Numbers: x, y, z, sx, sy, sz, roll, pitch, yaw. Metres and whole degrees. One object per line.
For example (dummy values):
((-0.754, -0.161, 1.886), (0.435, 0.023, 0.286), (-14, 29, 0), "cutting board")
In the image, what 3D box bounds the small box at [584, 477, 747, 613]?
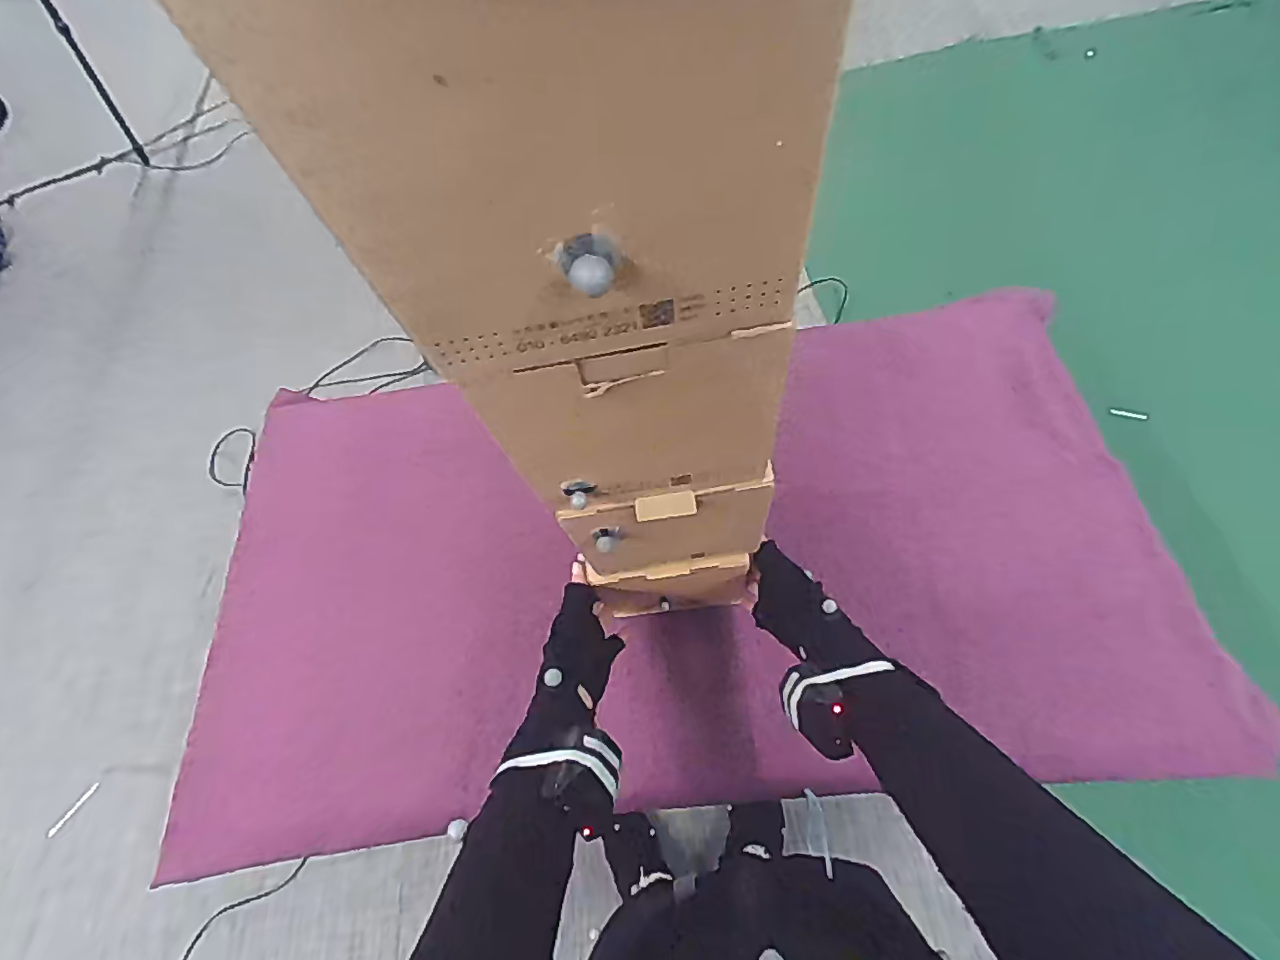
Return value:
((0.029, 0.051, 0.655), (0.168, 0.176, 0.179), (-8, 65, 4), "small box")

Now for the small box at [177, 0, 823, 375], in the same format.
((-0.037, -0.170, 0.218), (0.168, 0.176, 0.179), (-10, 64, 4), "small box")

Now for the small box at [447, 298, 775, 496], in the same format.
((-0.013, -0.100, 0.365), (0.168, 0.176, 0.179), (-9, 63, 3), "small box")
